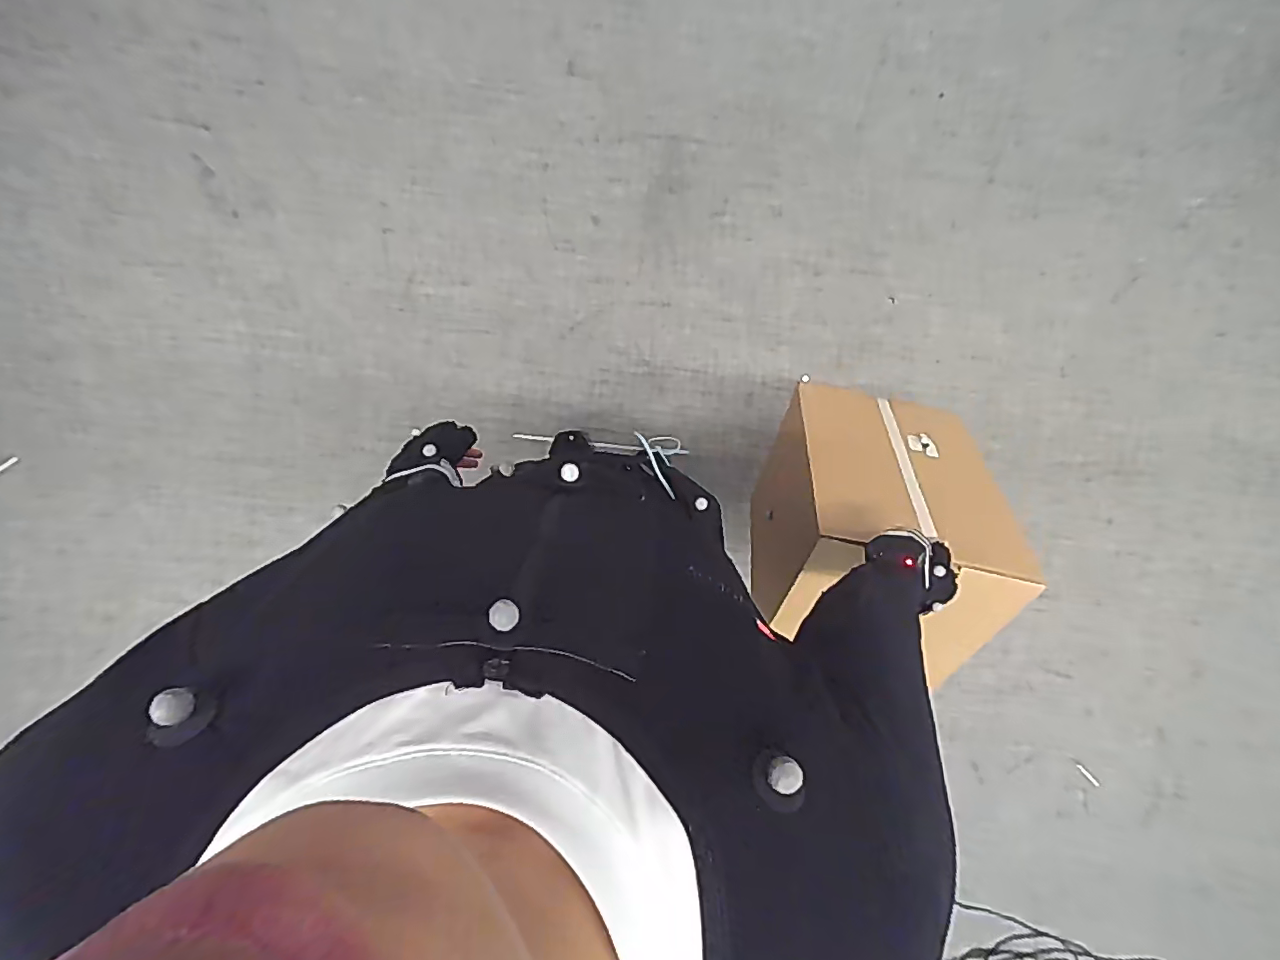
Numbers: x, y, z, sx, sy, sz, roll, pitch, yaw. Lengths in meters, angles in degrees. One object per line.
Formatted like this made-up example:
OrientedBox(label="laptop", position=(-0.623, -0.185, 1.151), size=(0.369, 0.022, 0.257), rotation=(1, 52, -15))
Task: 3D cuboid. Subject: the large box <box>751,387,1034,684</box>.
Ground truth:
OrientedBox(label="large box", position=(0.394, 0.090, 0.979), size=(0.320, 0.408, 0.320), rotation=(13, 130, 0))
